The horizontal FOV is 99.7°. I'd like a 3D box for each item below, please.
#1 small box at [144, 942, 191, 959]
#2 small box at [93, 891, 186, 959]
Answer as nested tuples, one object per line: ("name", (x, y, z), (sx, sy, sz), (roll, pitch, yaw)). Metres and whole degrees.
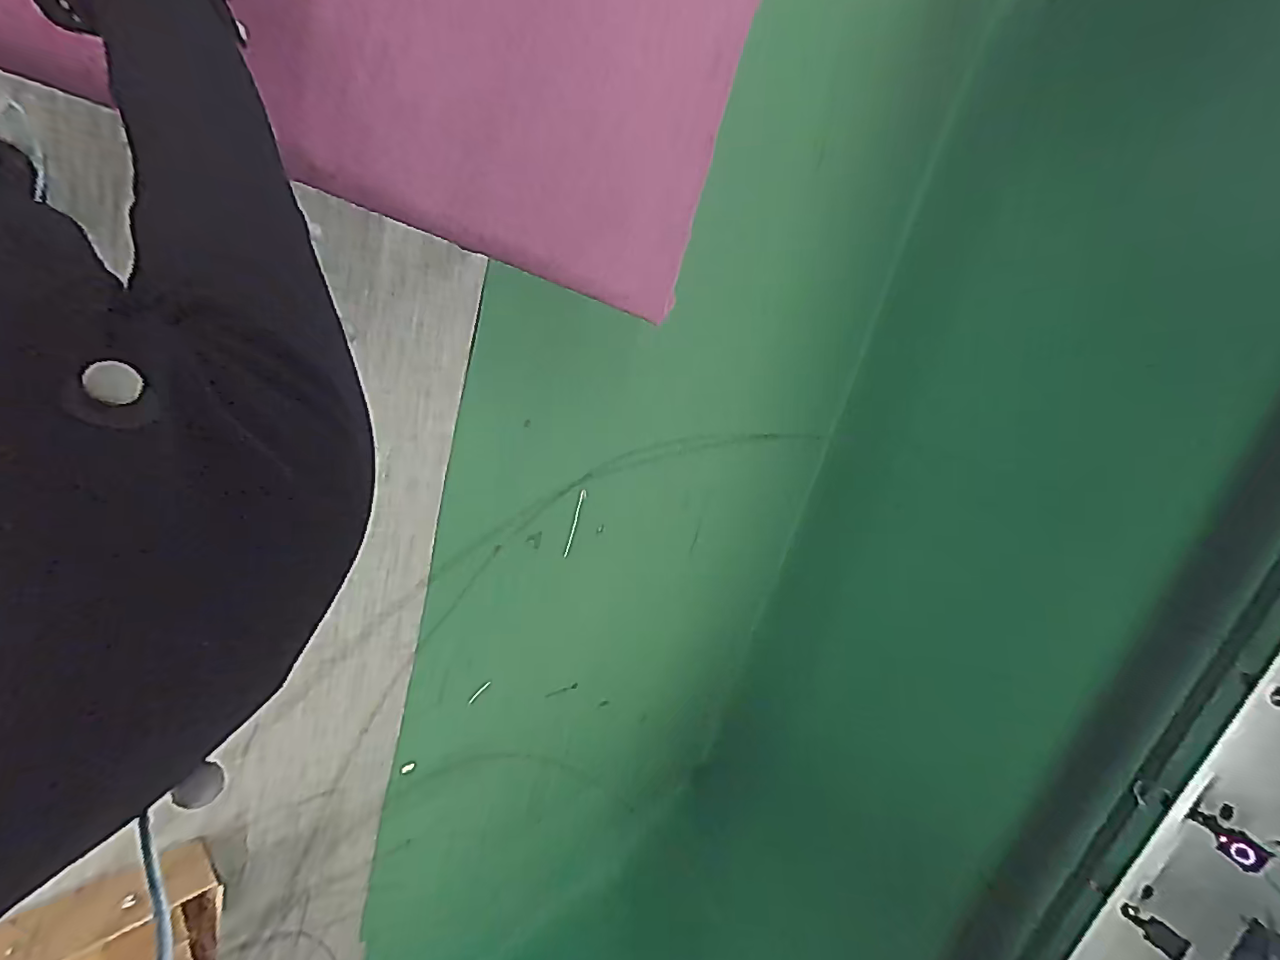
("small box", (-1.254, 1.357, 1.386), (0.168, 0.176, 0.179), (-5, 116, -49))
("small box", (-1.369, 1.291, 1.479), (0.168, 0.176, 0.179), (-4, 116, -50))
